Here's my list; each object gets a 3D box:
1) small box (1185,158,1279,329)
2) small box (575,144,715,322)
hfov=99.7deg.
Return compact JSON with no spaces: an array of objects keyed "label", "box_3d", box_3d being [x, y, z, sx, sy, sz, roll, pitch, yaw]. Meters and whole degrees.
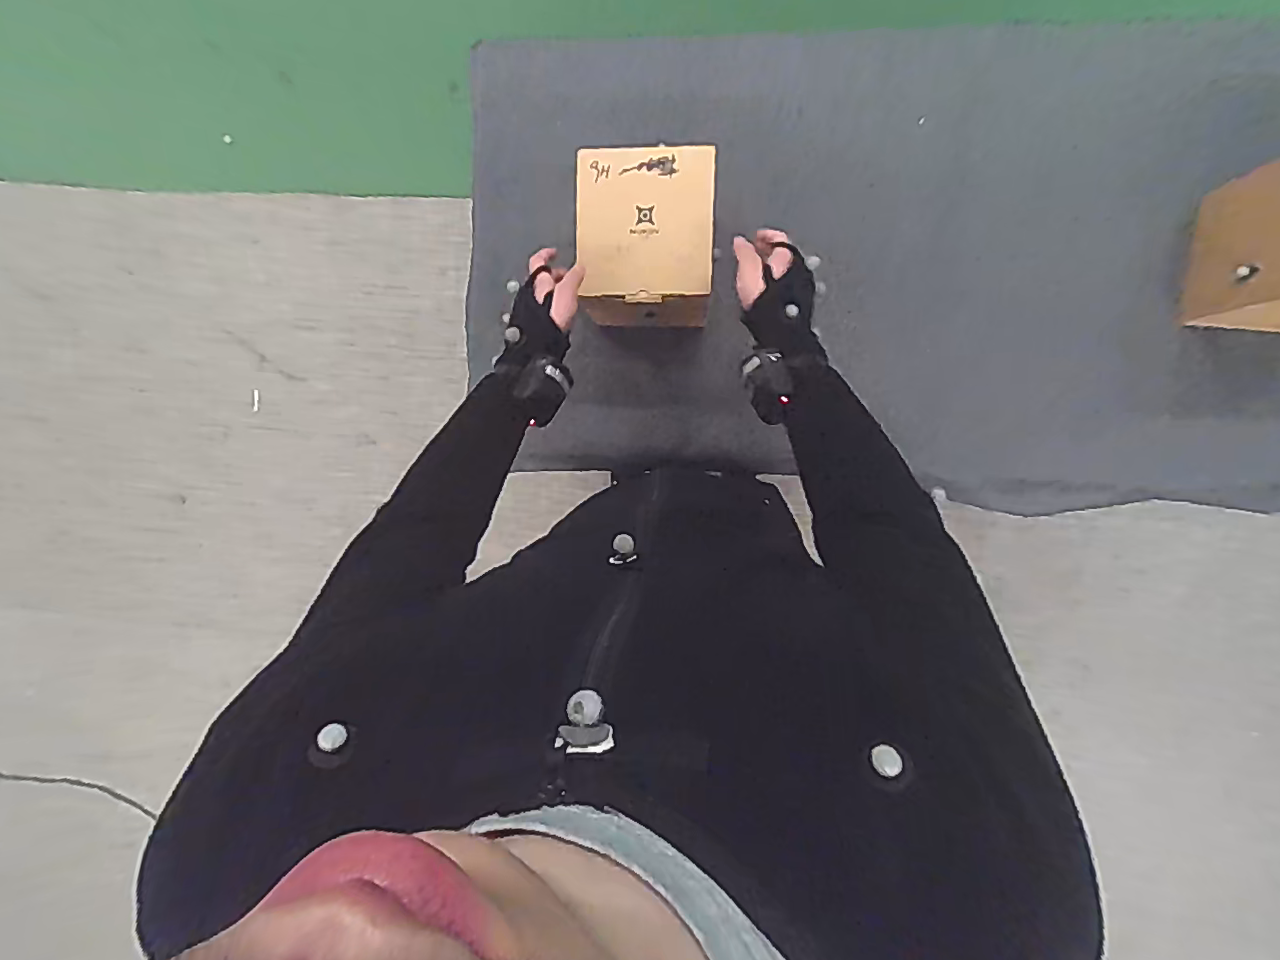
[{"label":"small box","box_3d":[0.815,-0.283,0.642,0.168,0.176,0.179,6,94,4]},{"label":"small box","box_3d":[0.012,-0.312,0.719,0.168,0.176,0.179,1,95,5]}]
